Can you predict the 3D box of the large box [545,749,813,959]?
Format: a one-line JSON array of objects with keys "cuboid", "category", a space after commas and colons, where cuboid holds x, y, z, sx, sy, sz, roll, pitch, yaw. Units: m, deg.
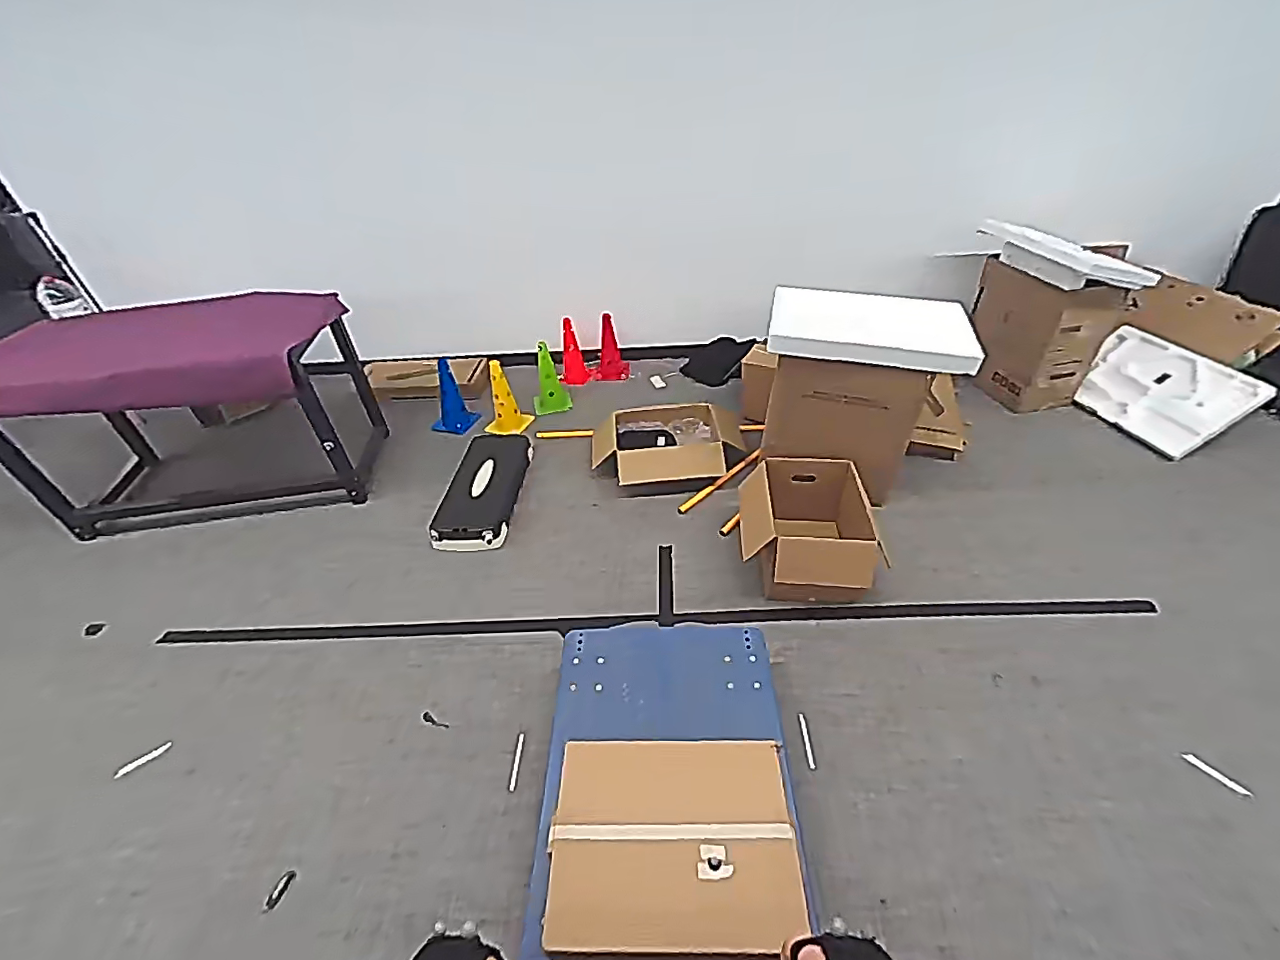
[{"cuboid": [0.058, 0.724, 0.996, 0.408, 0.320, 0.320, -1, 39, 1], "category": "large box"}]
